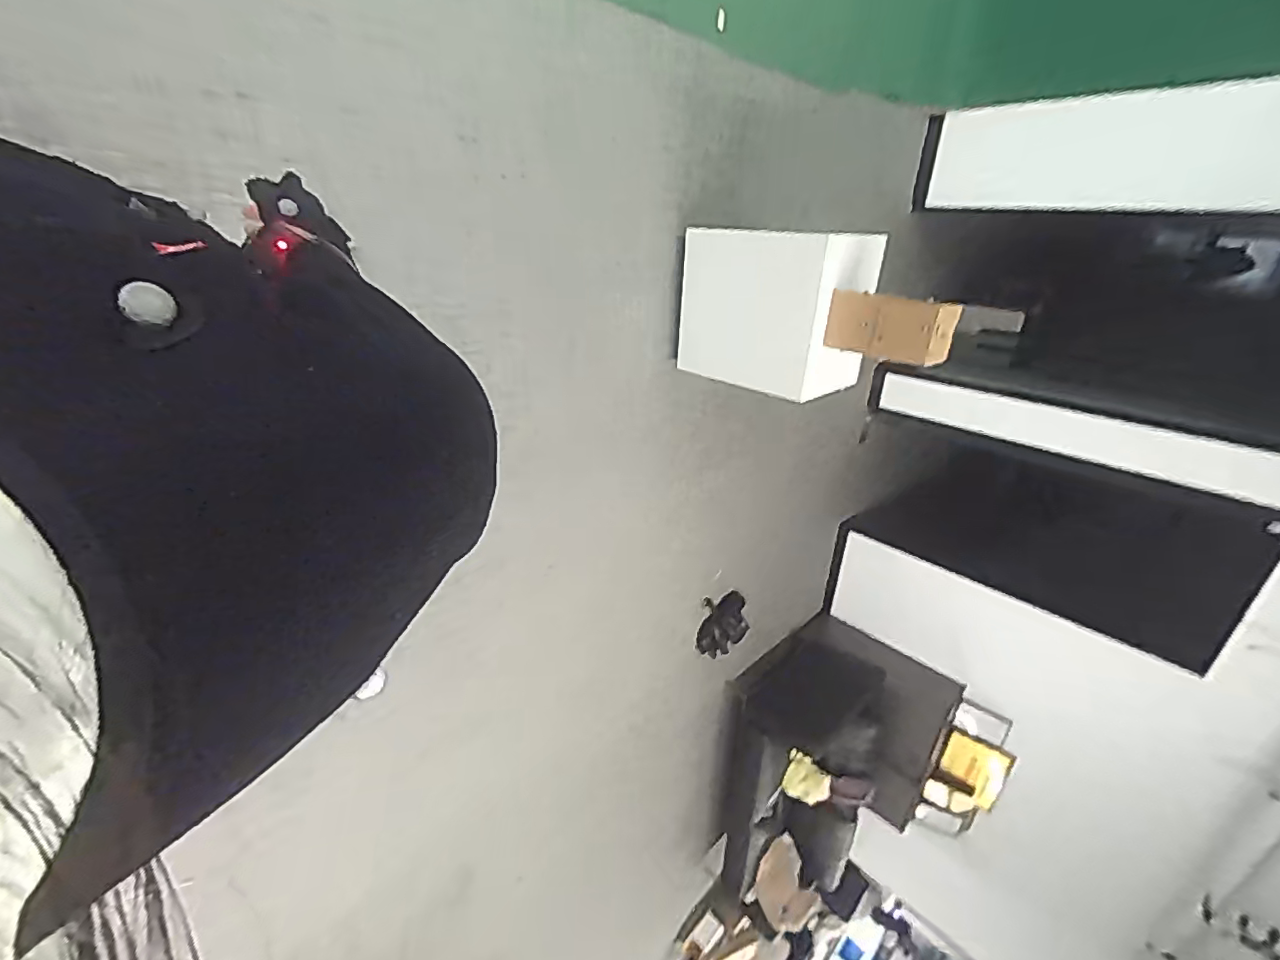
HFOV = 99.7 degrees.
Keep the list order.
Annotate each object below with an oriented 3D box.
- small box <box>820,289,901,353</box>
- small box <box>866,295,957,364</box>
[{"bbox_3d":[0.697,-0.512,1.720,0.168,0.176,0.179,-20,124,-40],"label":"small box"},{"bbox_3d":[0.809,-0.455,1.619,0.179,0.176,0.168,-21,124,-39],"label":"small box"}]
